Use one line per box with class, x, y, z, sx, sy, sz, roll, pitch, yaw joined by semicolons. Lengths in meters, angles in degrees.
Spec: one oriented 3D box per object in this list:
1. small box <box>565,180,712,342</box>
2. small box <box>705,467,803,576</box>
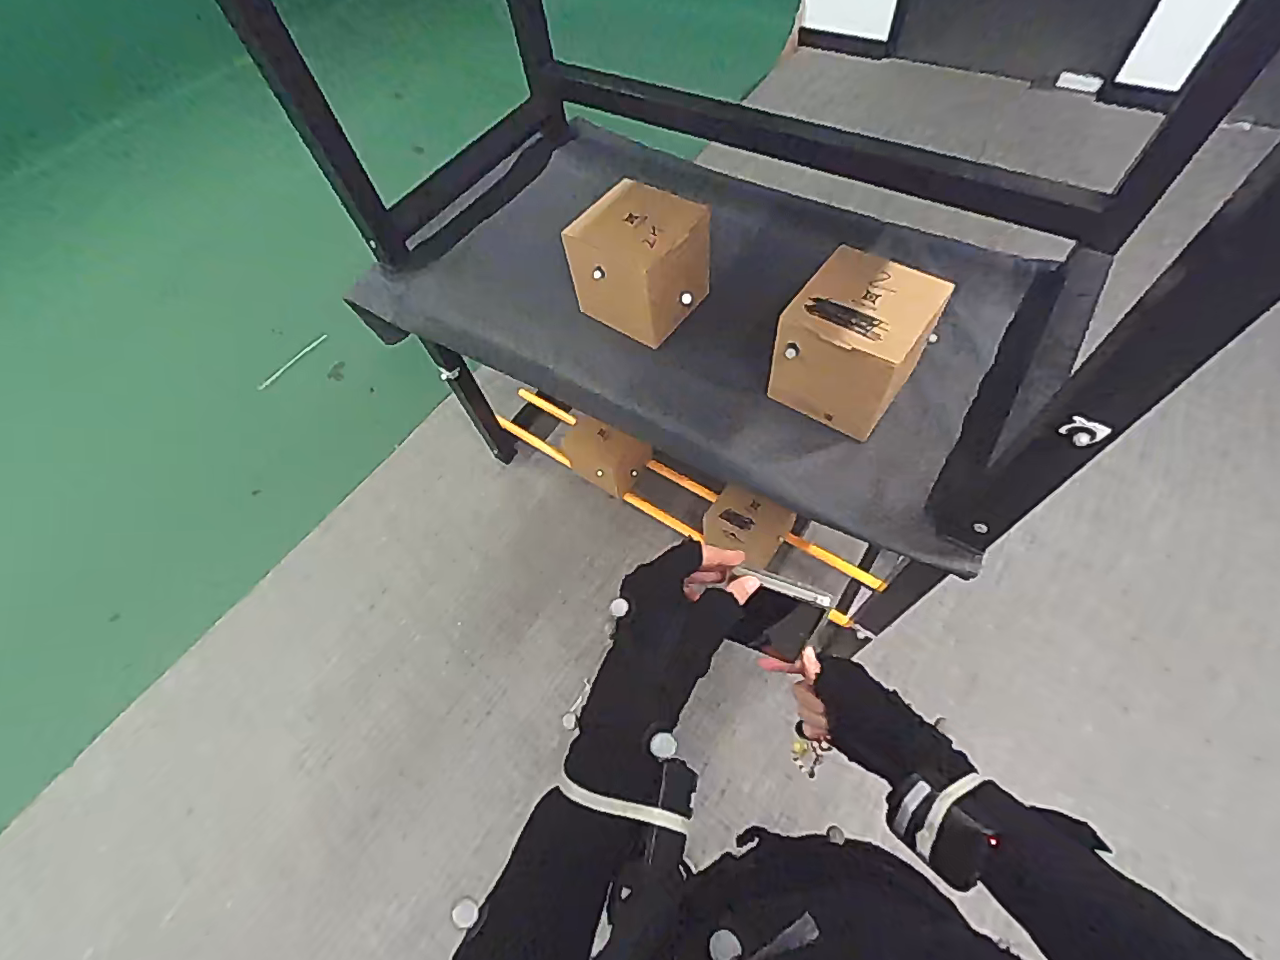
small box;0.004;-0.364;0.913;0.179;0.176;0.168;32;69;22
small box;0.278;0.108;1.331;0.168;0.176;0.179;32;70;22
